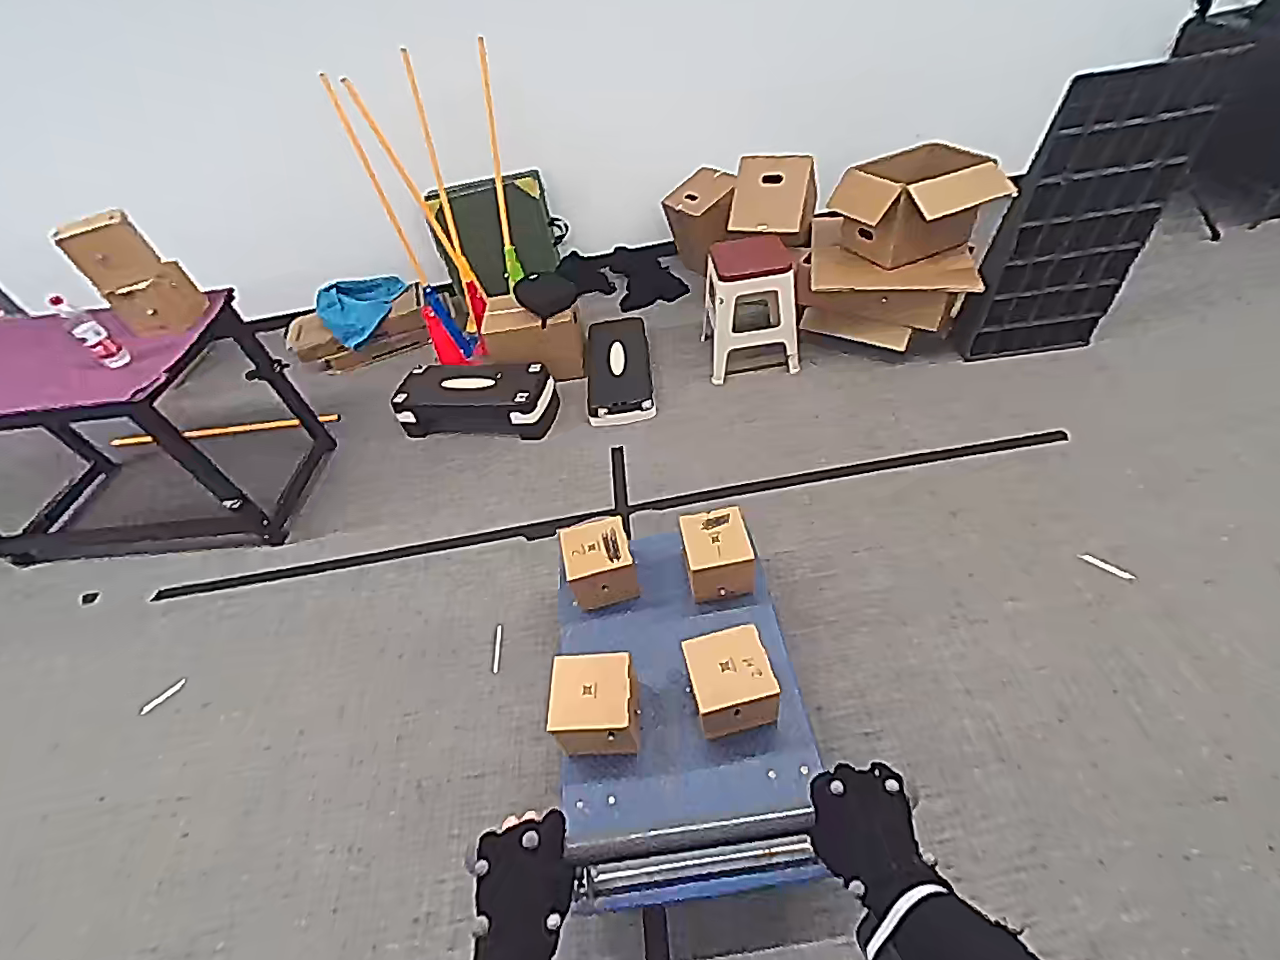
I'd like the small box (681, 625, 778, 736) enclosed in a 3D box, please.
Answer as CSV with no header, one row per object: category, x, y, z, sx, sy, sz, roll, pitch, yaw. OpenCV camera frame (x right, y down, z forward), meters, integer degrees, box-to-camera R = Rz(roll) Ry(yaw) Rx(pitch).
small box,0.202,0.462,1.232,0.179,0.176,0.168,-14,47,-2

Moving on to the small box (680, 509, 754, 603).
small box,0.206,0.207,1.465,0.168,0.176,0.179,-11,48,1

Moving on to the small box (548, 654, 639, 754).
small box,-0.100,0.516,1.240,0.179,0.176,0.168,-5,47,4
